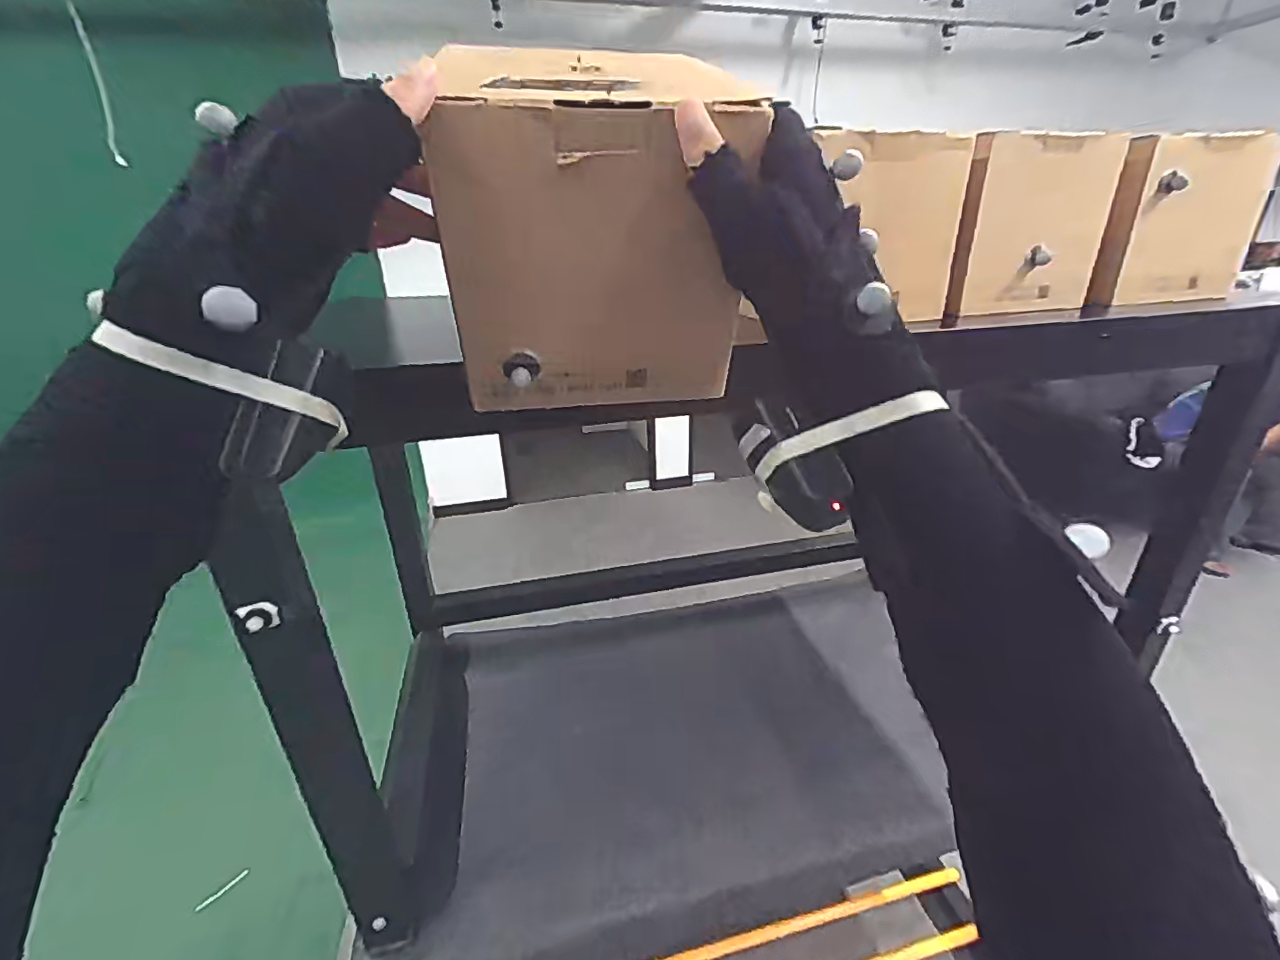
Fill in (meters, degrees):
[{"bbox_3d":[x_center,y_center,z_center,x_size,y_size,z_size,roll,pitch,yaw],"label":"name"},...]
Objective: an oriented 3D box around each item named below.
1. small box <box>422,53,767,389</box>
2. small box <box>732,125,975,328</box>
[{"bbox_3d":[-0.032,-0.171,0.363,0.168,0.176,0.179,-4,42,-9],"label":"small box"},{"bbox_3d":[0.204,-0.258,0.574,0.168,0.176,0.179,-6,24,-13],"label":"small box"}]
